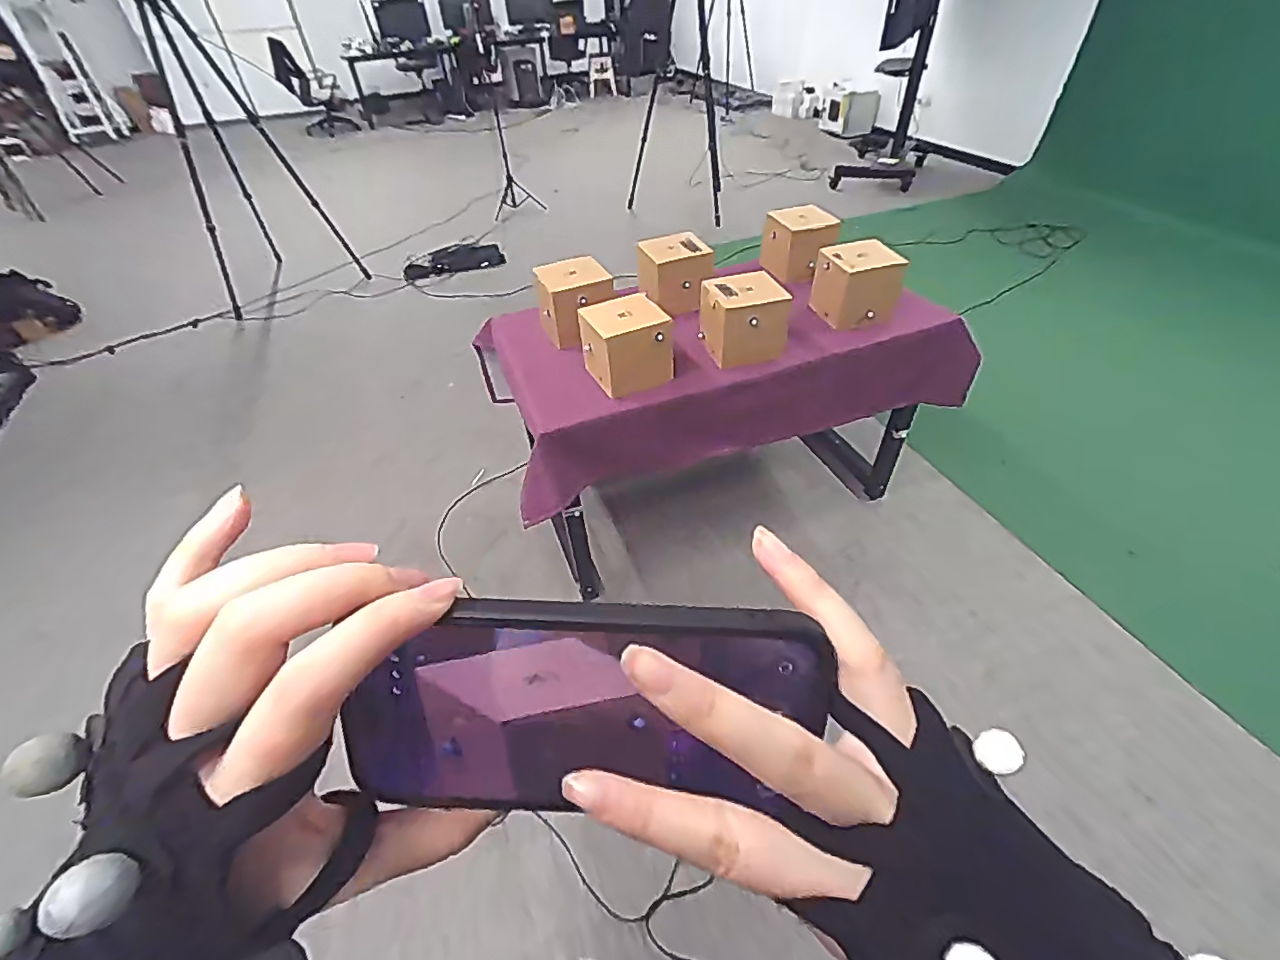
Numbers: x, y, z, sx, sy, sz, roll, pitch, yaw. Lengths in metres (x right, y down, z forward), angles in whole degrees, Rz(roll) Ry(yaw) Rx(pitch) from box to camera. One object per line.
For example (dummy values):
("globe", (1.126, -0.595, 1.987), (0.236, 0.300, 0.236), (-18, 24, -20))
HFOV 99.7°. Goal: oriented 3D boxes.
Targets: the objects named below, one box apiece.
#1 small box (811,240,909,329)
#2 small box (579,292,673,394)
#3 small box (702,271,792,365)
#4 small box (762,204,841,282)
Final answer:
("small box", (0.598, -0.540, 1.495), (0.179, 0.176, 0.168), (-11, 45, -9))
("small box", (-0.031, -0.334, 1.327), (0.179, 0.176, 0.168), (-20, 47, -18))
("small box", (0.266, -0.414, 1.388), (0.179, 0.176, 0.168), (-12, 45, -10))
("small box", (0.501, -0.748, 1.709), (0.168, 0.176, 0.179), (-15, 47, -10))
